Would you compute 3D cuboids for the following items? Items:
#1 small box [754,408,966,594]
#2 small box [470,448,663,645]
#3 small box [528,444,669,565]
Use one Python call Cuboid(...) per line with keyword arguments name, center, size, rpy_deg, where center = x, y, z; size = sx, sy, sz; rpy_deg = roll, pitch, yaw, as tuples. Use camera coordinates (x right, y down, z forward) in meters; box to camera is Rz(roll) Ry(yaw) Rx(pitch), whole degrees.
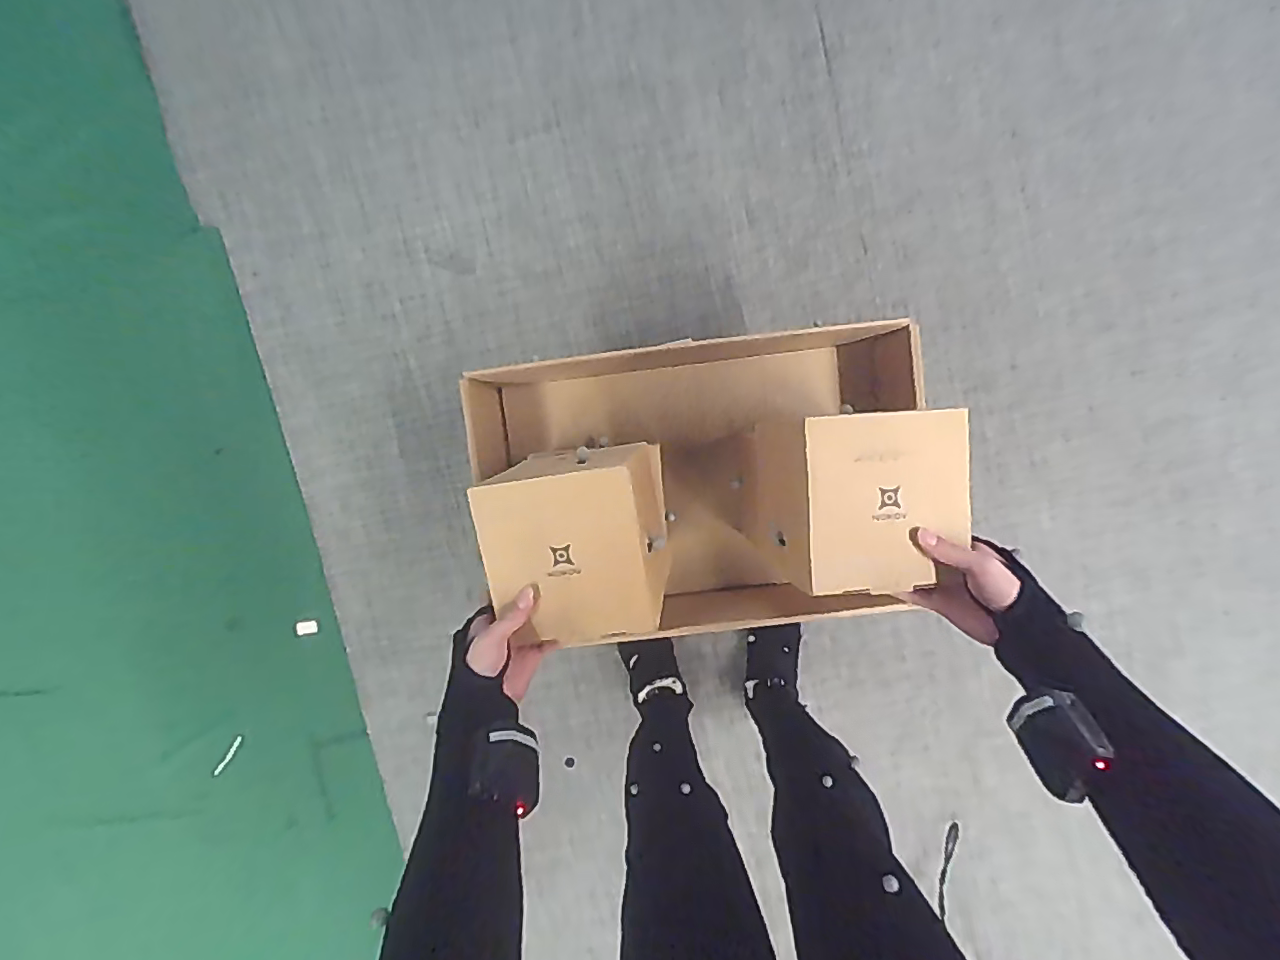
Cuboid(name="small box", center=(0.230, 0.017, 0.602), size=(0.168, 0.176, 0.179), rpy_deg=(-3, 92, -4))
Cuboid(name="small box", center=(-0.070, 0.063, 0.620), size=(0.168, 0.176, 0.179), rpy_deg=(-8, 101, 8))
Cuboid(name="small box", center=(-0.051, 0.035, 0.793), size=(0.179, 0.176, 0.168), rpy_deg=(-4, 94, 4))
